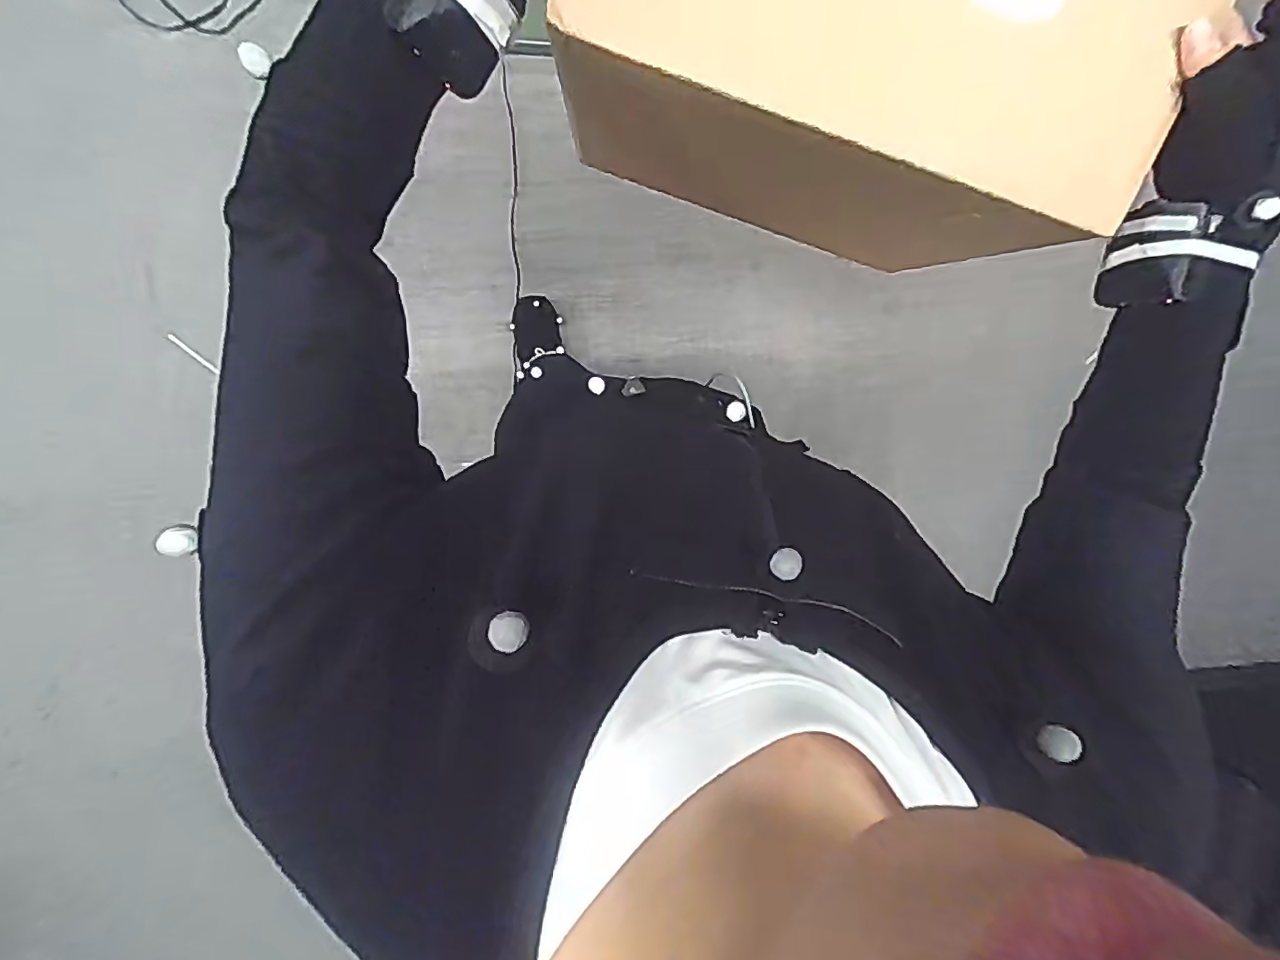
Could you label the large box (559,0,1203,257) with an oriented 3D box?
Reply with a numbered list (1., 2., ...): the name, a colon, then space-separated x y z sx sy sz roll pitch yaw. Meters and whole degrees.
1. large box: 0.166 -0.418 0.460 0.408 0.320 0.320 14 106 -8
